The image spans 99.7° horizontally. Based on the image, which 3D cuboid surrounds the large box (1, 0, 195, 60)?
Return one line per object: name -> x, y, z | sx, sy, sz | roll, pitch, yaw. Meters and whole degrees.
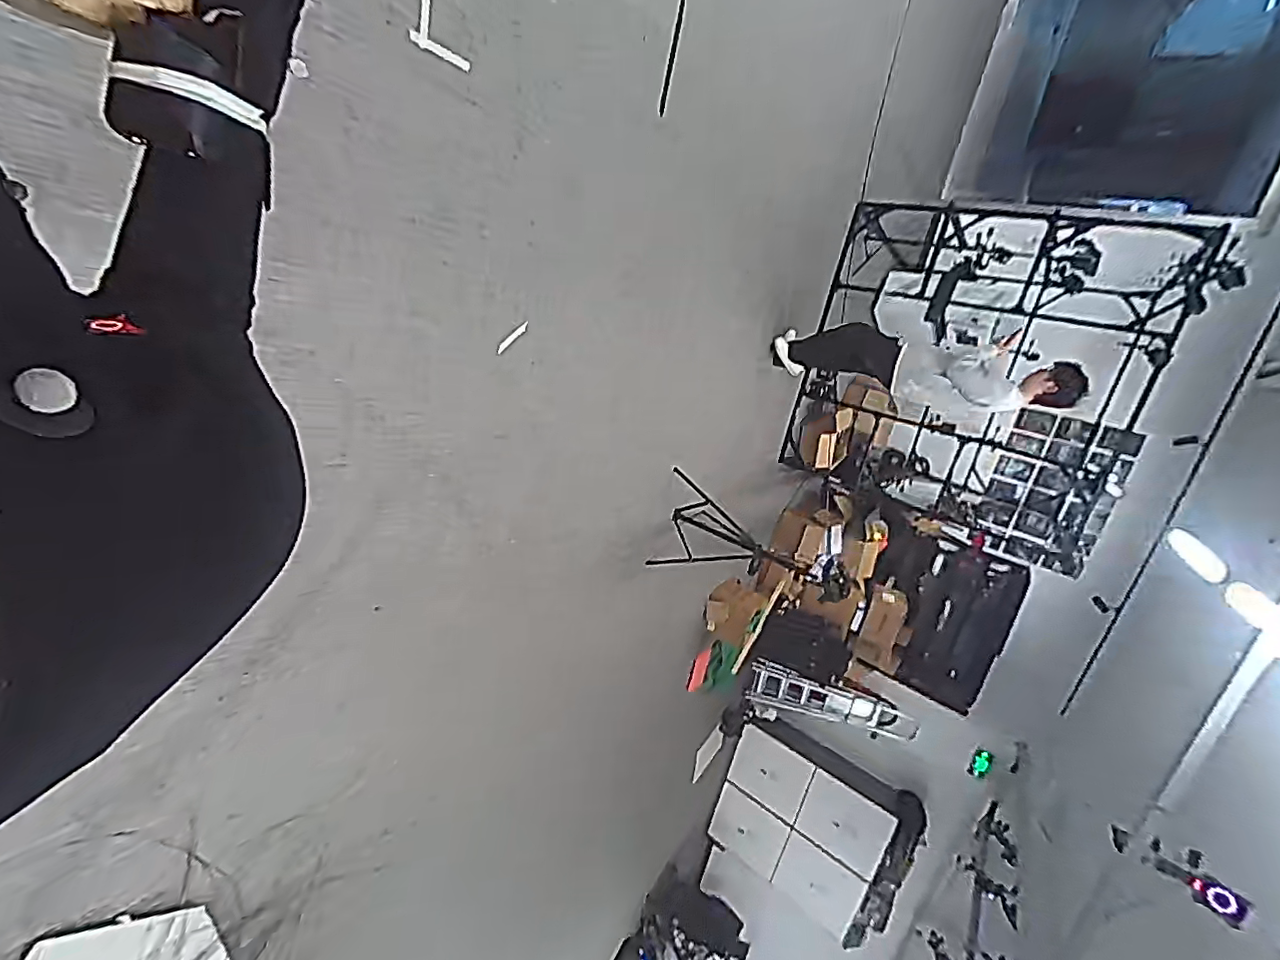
large box -> -0.479, -0.477, 0.229 | 0.408, 0.320, 0.320 | -6, 124, -58
